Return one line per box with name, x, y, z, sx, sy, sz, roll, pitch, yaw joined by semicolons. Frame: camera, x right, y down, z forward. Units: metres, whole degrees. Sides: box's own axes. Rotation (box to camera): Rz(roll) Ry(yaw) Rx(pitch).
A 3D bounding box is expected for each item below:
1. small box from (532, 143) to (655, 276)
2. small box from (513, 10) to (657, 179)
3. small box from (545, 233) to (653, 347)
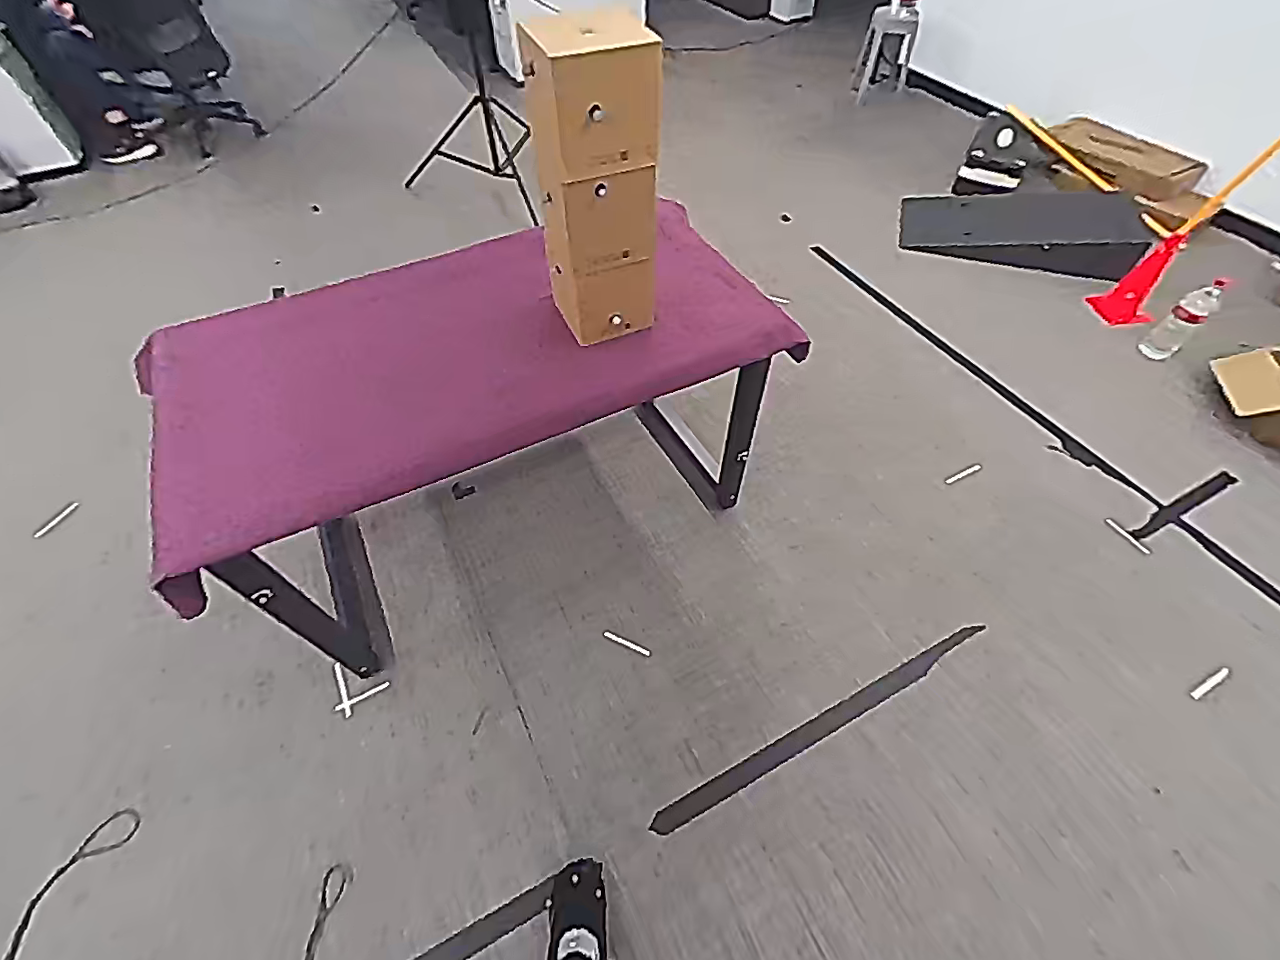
small box;-0.082;-0.498;0.976;0.168;0.176;0.179;-20;55;-13
small box;-0.080;-0.590;0.840;0.168;0.176;0.179;-20;56;-13
small box;-0.083;-0.405;1.110;0.168;0.176;0.179;-21;57;-14
